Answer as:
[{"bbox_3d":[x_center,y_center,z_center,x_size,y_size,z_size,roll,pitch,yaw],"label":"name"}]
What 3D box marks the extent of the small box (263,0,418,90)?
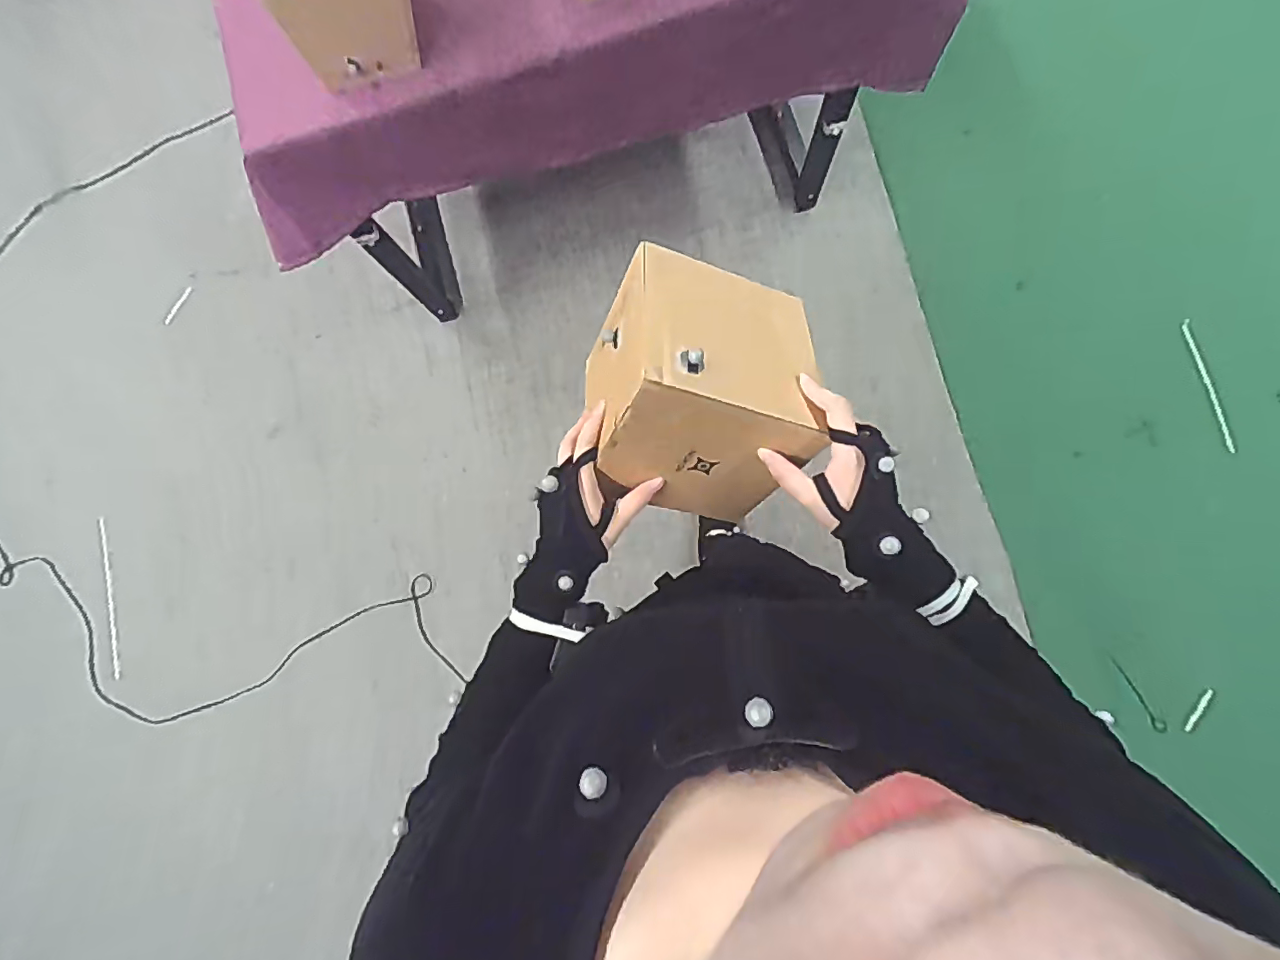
[{"bbox_3d":[-0.476,-0.775,0.856,0.168,0.176,0.179,-11,82,4],"label":"small box"}]
